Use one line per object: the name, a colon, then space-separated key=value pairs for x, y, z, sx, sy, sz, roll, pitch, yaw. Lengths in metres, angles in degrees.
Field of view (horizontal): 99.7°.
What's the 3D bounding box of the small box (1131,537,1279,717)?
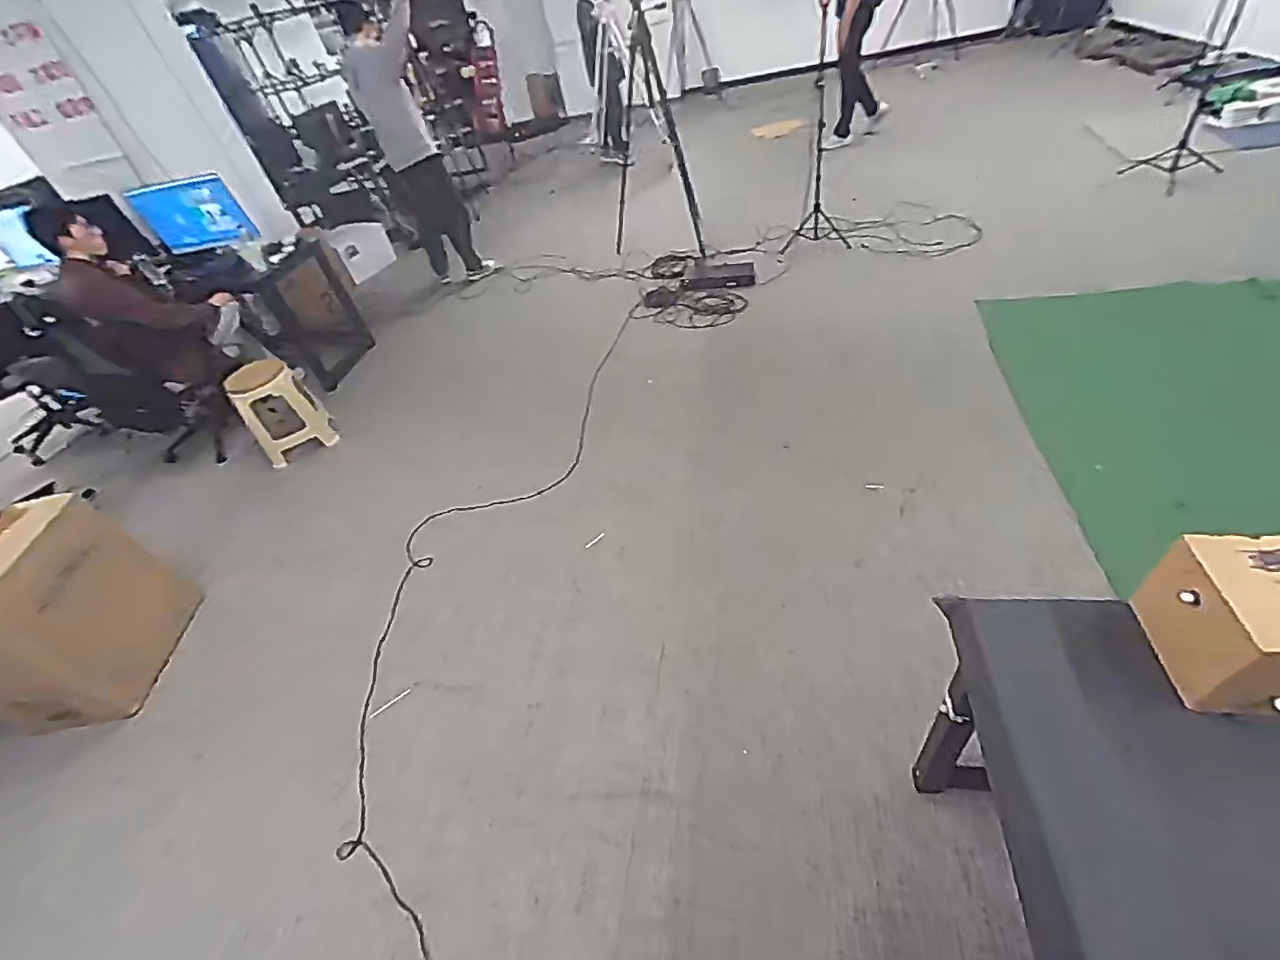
small box: x=0.822 y=0.196 z=0.726 sx=0.168 sy=0.176 sz=0.179 roll=-1 pitch=46 yaw=13
